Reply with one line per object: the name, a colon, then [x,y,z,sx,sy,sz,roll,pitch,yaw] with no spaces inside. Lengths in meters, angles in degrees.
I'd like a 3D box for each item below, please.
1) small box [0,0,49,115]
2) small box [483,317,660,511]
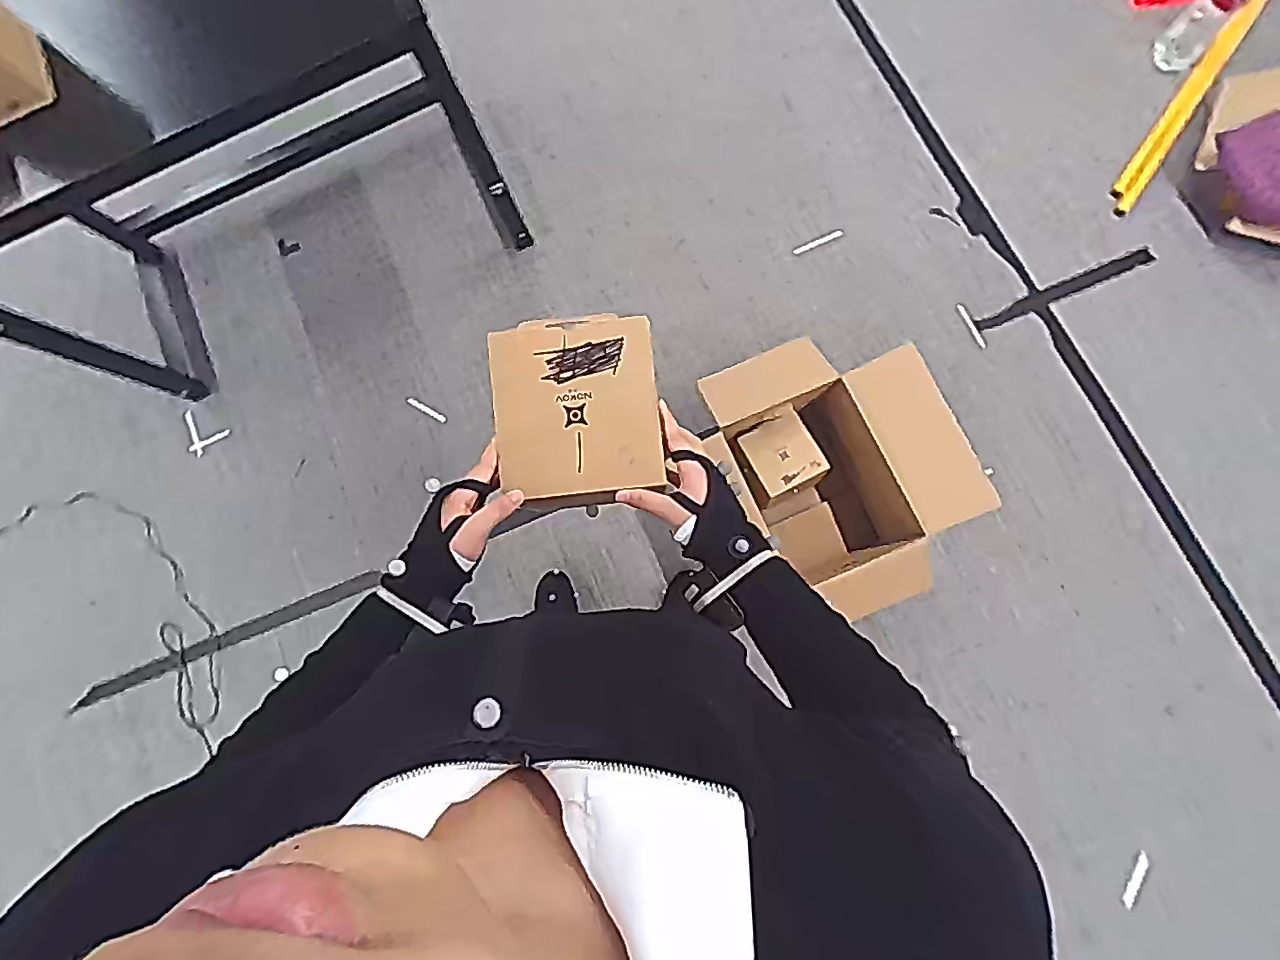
small box: [-1.193,-0.767,0.934,0.168,0.176,0.179,-23,80,0]
small box: [-0.069,-0.063,0.616,0.168,0.176,0.179,-7,84,1]
